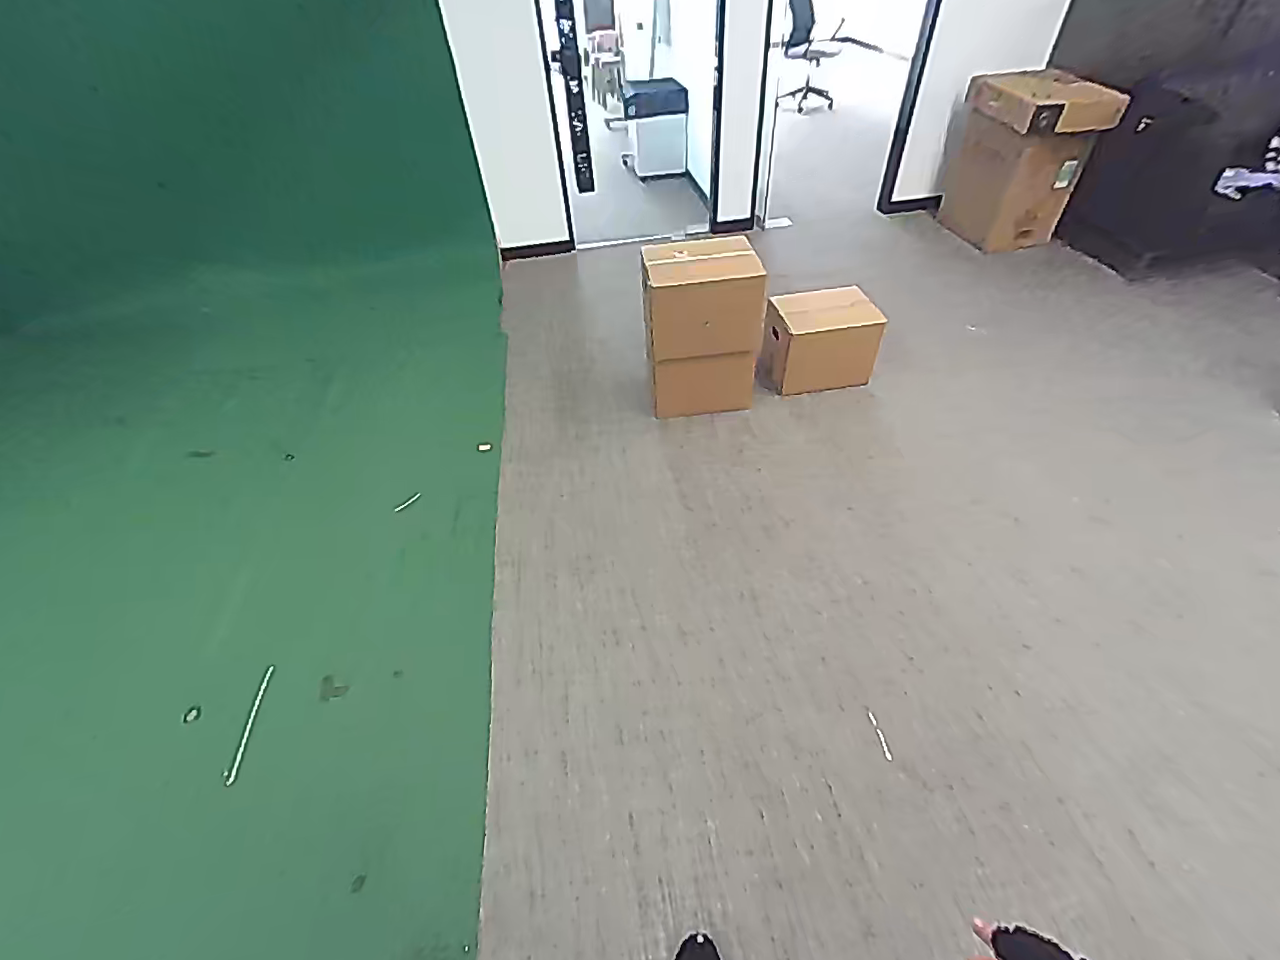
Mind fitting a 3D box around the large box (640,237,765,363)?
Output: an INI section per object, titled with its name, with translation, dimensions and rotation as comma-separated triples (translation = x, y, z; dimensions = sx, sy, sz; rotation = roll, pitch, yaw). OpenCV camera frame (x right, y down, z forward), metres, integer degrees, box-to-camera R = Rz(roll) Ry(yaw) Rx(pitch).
[large box]
translation = 0.225, -0.680, 2.049
dimensions = 0.408, 0.320, 0.320
rotation = -8, 48, -1
